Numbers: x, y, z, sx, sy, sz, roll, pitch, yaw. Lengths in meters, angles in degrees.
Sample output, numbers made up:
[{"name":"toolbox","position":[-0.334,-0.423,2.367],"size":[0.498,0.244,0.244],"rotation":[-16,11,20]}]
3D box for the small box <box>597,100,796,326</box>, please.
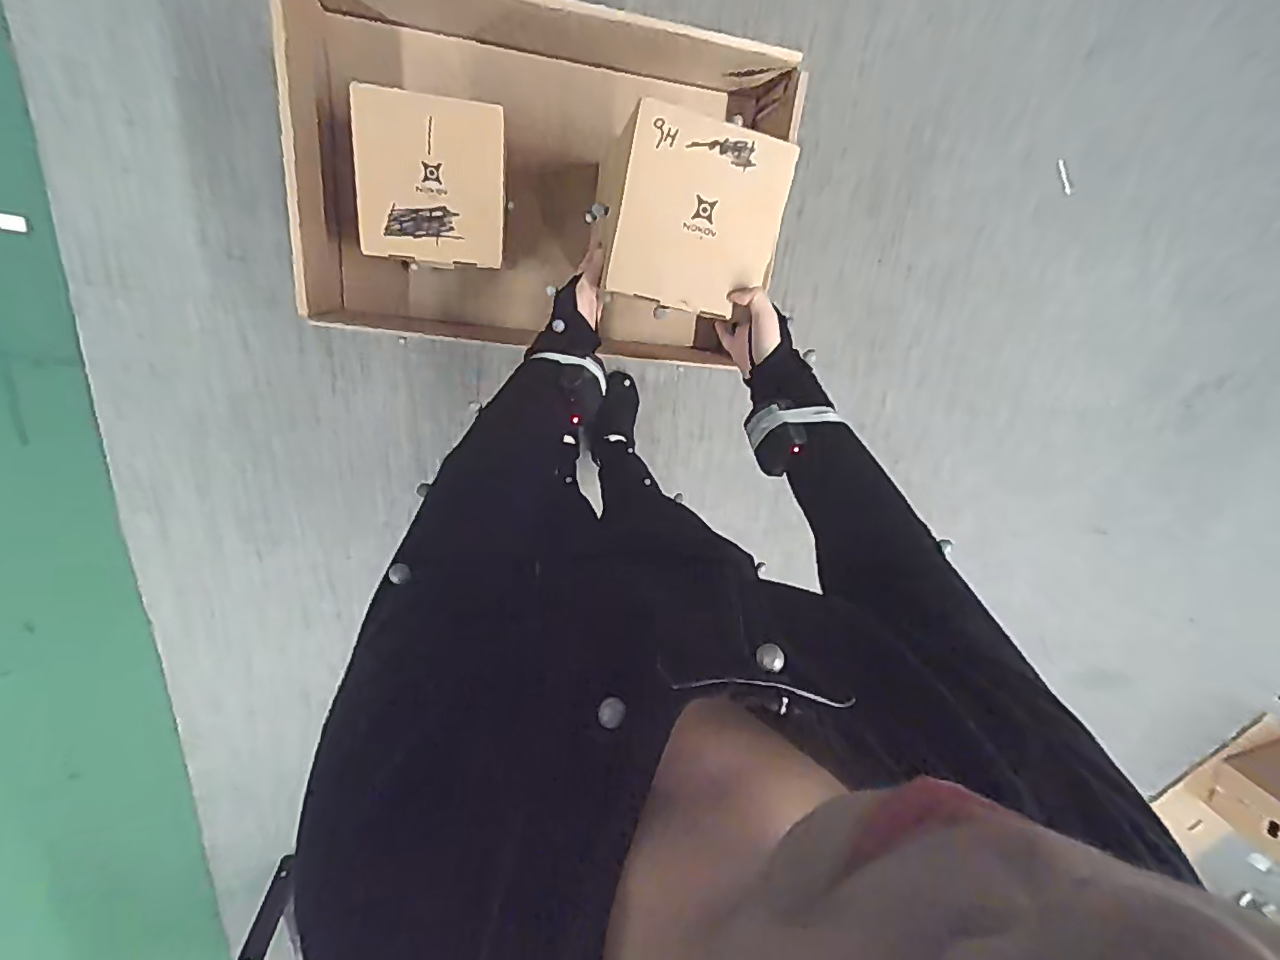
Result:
[{"name":"small box","position":[0.048,-0.288,0.617],"size":[0.168,0.176,0.179],"rotation":[9,109,-12]}]
